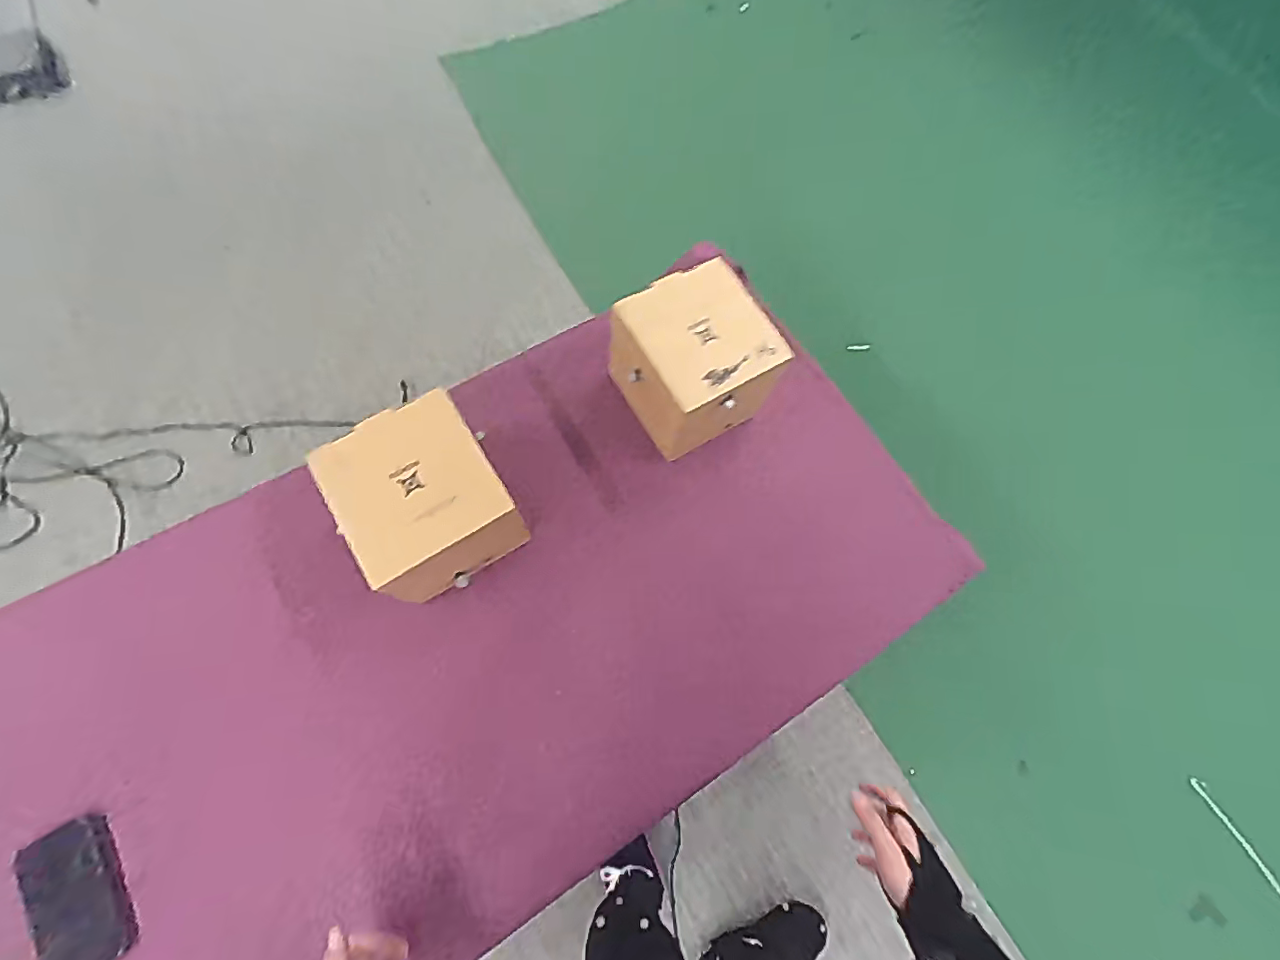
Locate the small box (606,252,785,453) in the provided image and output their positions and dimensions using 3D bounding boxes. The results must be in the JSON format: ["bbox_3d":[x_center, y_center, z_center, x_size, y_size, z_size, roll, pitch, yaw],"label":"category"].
[{"bbox_3d":[0.062,-0.167,0.748,0.168,0.176,0.179,-29,75,-13],"label":"small box"}]

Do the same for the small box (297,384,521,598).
[{"bbox_3d":[-0.264,0.023,0.656,0.168,0.176,0.179,-31,77,-13],"label":"small box"}]
